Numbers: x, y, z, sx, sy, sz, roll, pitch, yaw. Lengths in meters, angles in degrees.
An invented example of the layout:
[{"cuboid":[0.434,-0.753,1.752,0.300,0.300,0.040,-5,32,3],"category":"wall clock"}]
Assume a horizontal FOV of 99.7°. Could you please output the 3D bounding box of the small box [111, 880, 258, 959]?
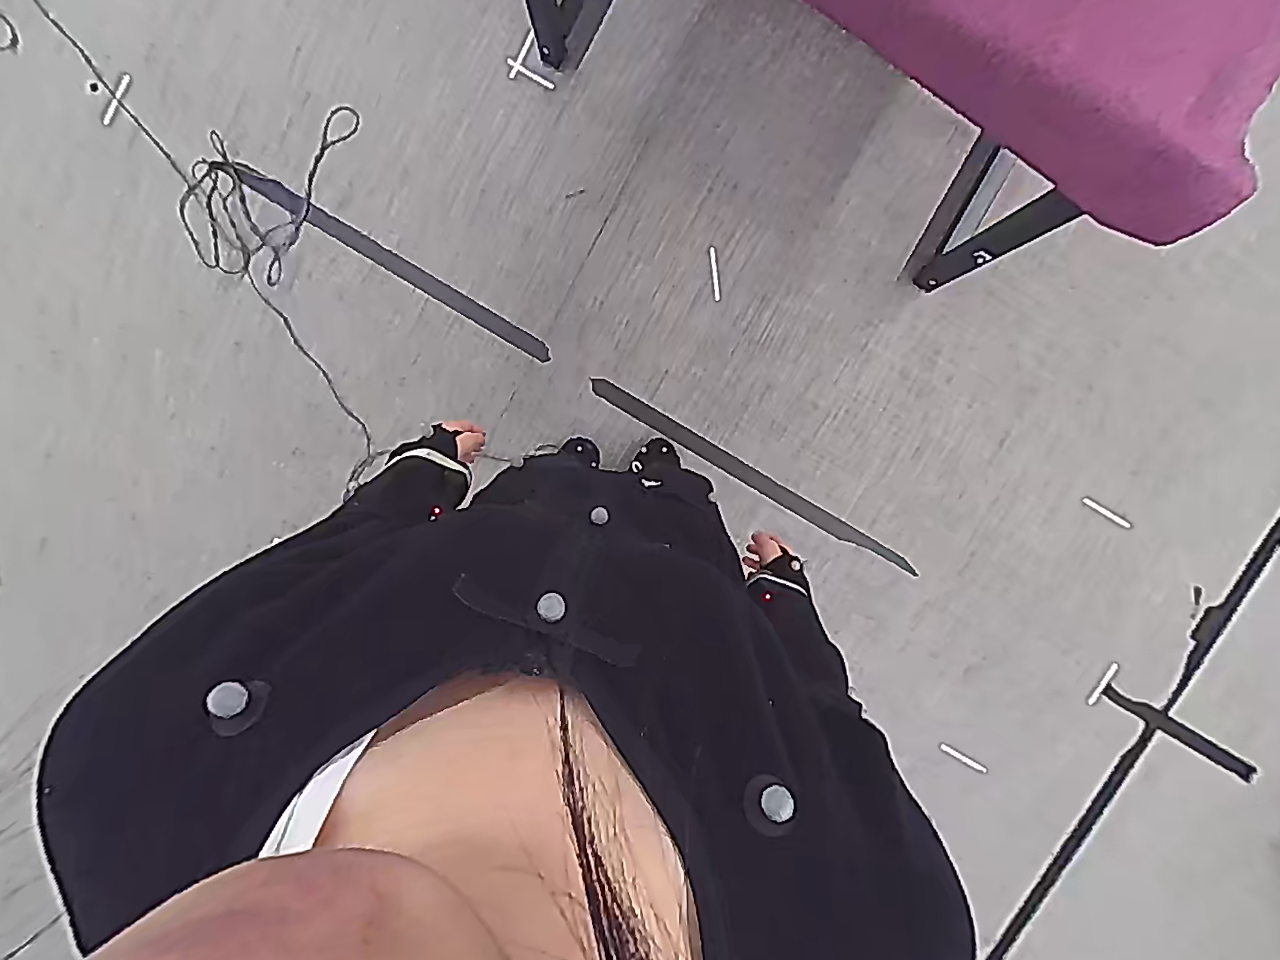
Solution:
[{"cuboid":[-0.881,0.926,1.034,0.168,0.176,0.179,25,95,-1],"category":"small box"}]
